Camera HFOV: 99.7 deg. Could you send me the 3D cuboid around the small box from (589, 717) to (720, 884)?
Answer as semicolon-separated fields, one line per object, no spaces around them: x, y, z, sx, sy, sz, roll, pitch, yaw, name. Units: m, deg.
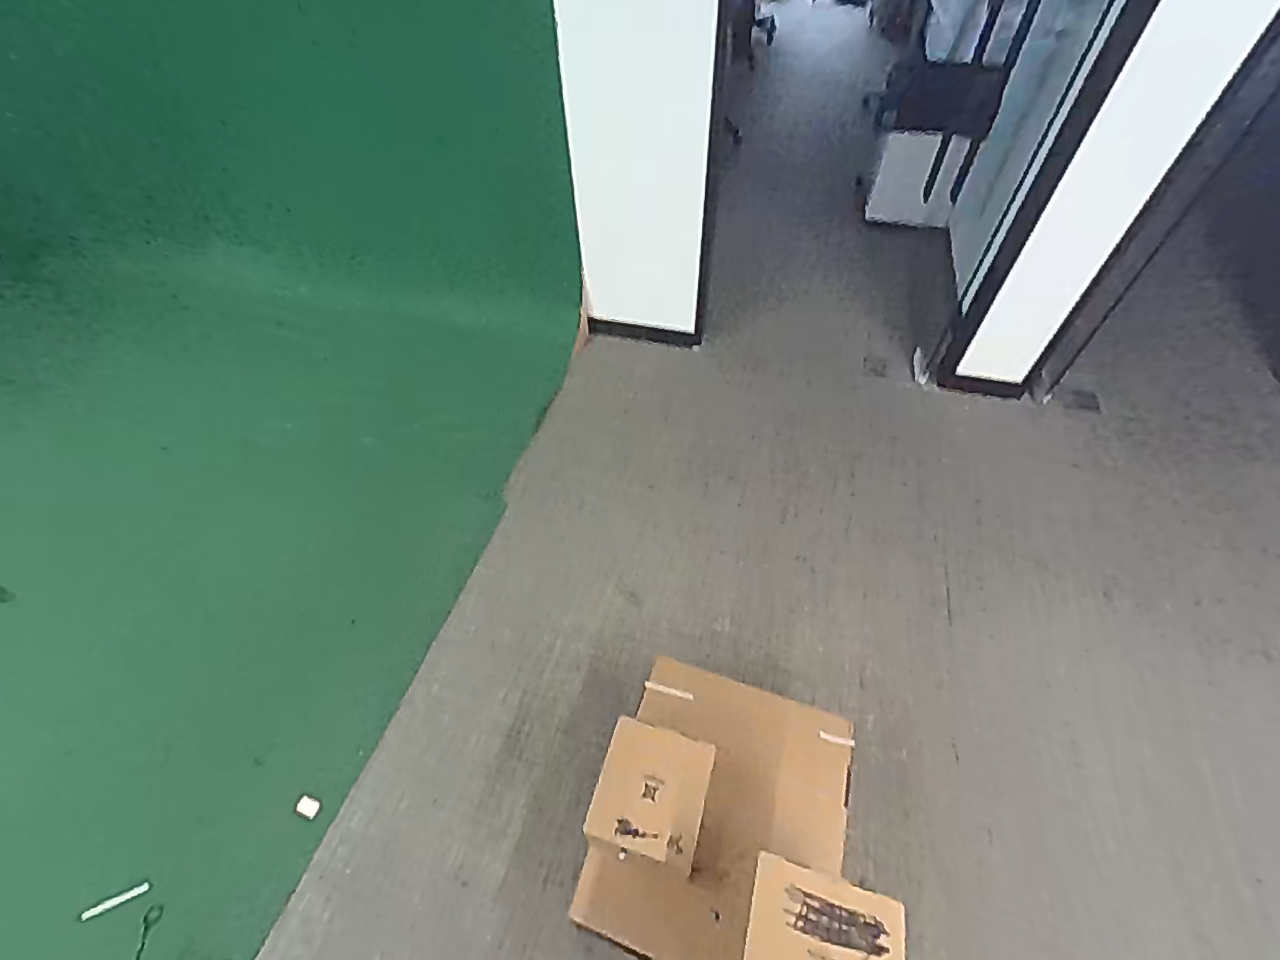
0.026;0.524;0.884;0.168;0.176;0.179;13;50;12;small box
